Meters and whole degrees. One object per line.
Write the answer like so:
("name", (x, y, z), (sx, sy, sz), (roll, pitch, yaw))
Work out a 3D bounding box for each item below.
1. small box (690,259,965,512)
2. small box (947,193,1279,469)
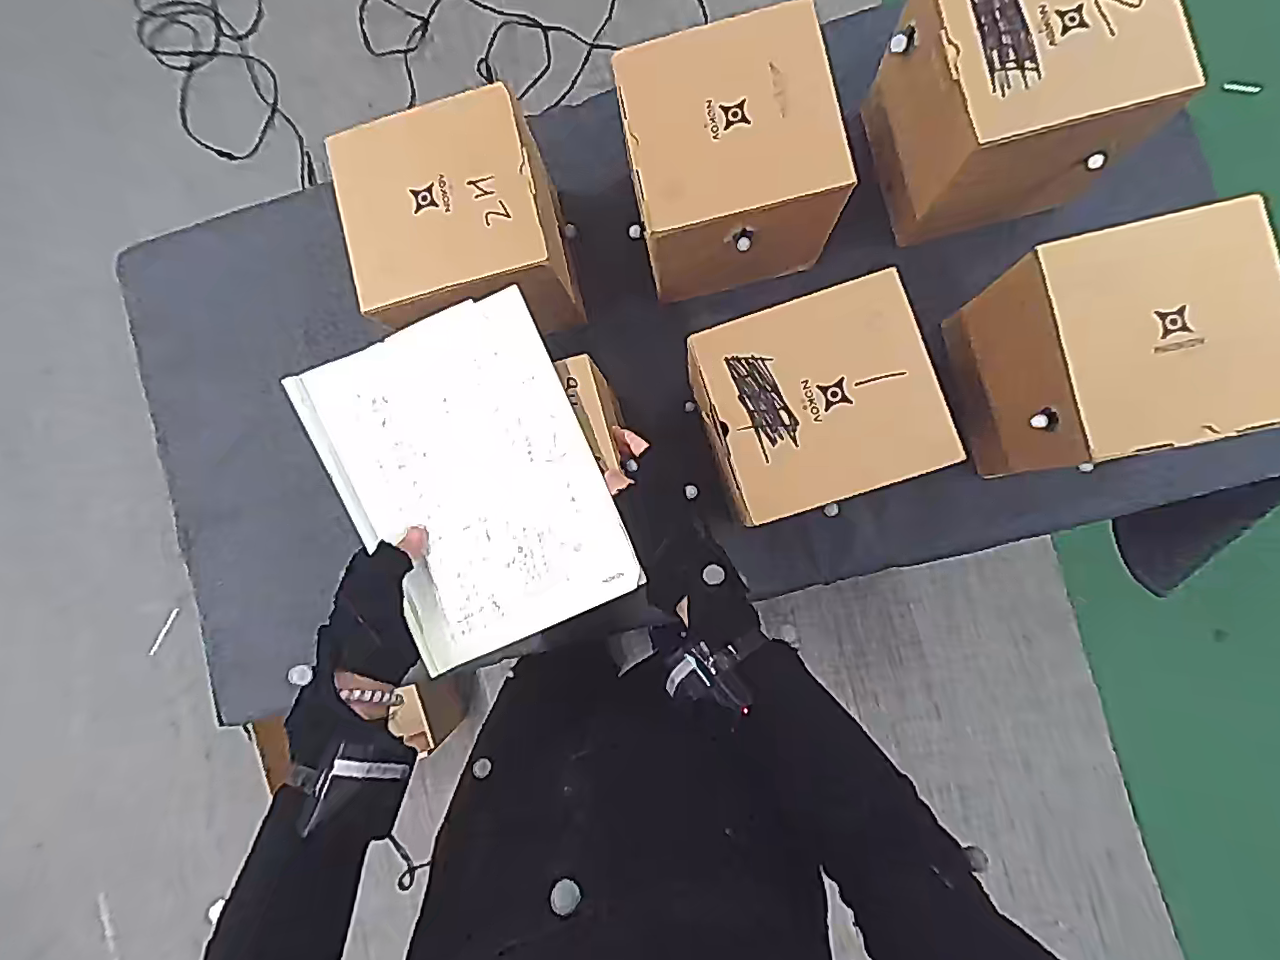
("small box", (0.153, -0.069, 0.507), (0.179, 0.176, 0.168), (-18, 85, 3))
("small box", (0.411, -0.115, 0.489), (0.168, 0.176, 0.179), (-12, 86, 5))
